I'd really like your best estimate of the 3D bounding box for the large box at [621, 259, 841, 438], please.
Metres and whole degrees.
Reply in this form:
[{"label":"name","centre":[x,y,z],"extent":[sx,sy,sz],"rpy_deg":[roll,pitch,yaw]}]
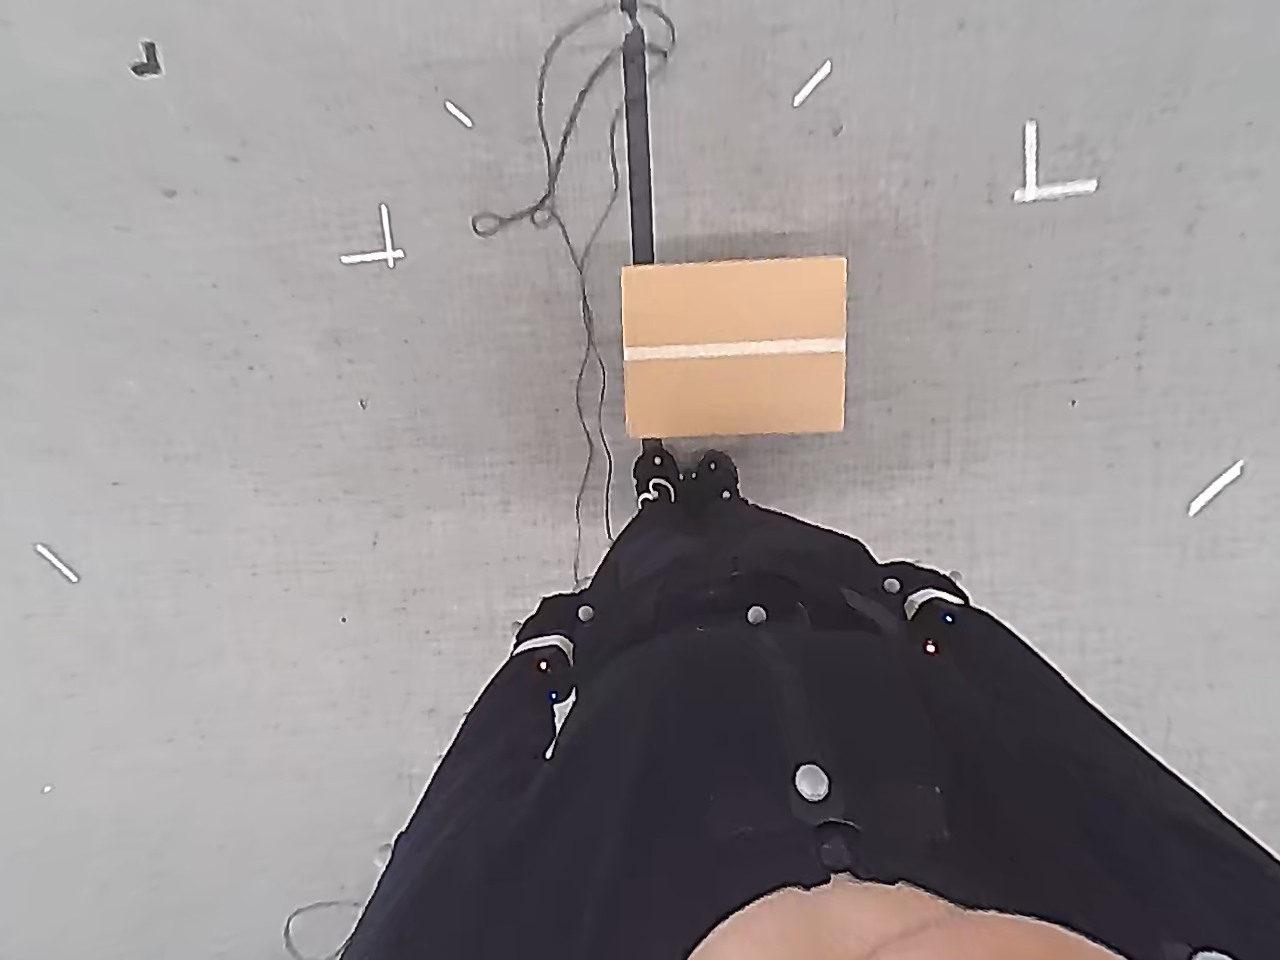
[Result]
[{"label":"large box","centre":[0.175,-0.261,1.150],"extent":[0.408,0.320,0.320],"rpy_deg":[-1,99,3]}]
